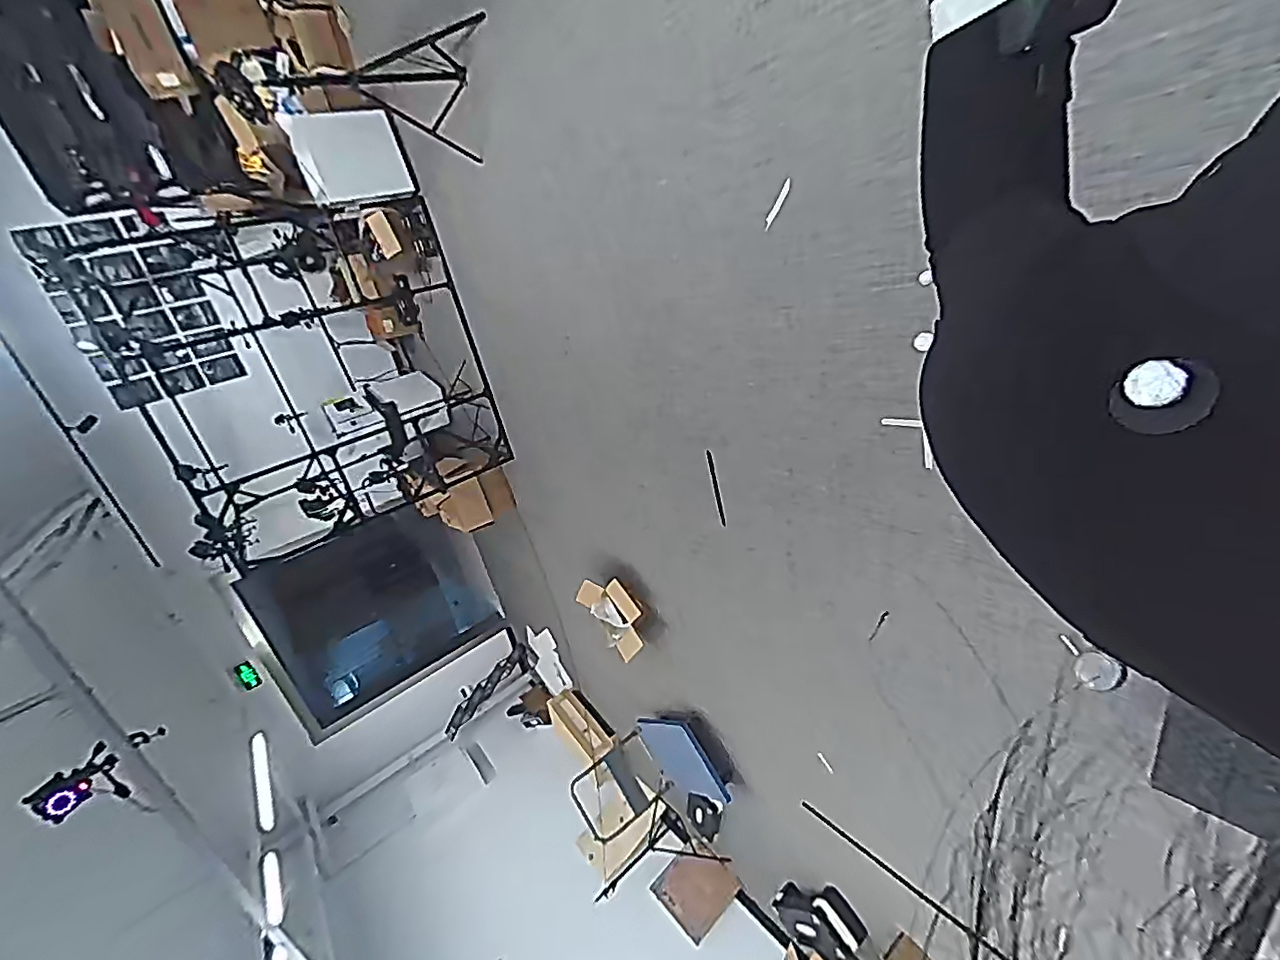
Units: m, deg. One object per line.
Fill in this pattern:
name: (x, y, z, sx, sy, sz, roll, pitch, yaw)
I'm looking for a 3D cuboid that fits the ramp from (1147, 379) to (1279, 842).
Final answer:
ramp: (1.370, 0.316, 1.025, 0.509, 0.206, 0.991, 16, 126, 53)
